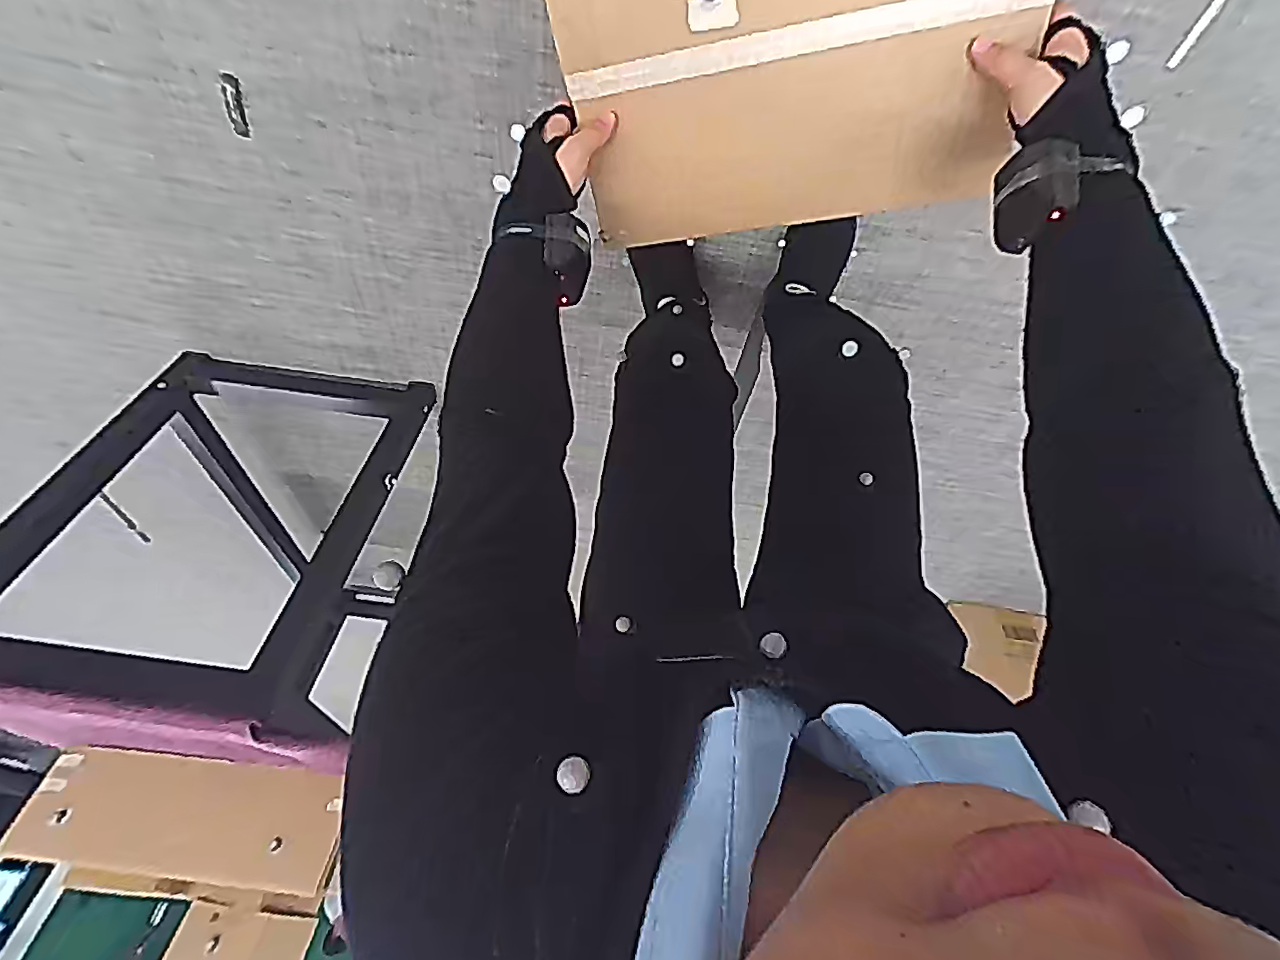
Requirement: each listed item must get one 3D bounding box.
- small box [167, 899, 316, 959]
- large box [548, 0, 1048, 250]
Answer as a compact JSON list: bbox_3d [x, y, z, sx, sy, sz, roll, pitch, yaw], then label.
[{"bbox_3d":[-0.757,0.910,1.015,0.168,0.176,0.179,2,139,8],"label":"small box"},{"bbox_3d":[0.144,-0.482,0.558,0.408,0.320,0.320,-3,135,12],"label":"large box"}]
